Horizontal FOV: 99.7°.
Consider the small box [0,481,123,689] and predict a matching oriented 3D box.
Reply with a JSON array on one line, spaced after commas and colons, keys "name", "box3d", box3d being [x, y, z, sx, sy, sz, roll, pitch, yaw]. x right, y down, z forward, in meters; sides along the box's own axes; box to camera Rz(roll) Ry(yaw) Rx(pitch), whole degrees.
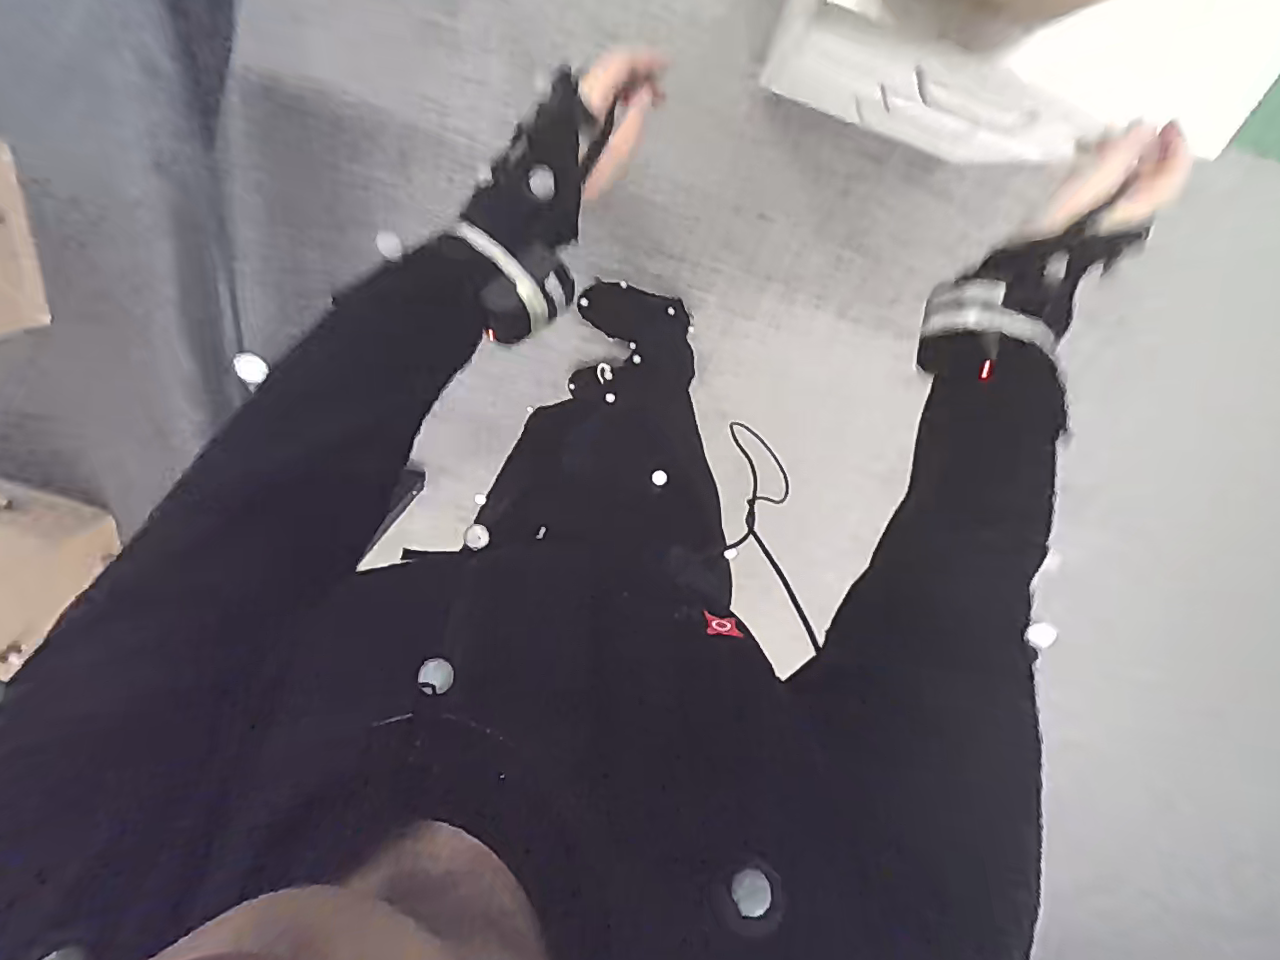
[{"name": "small box", "box3d": [-0.757, 0.115, 0.613, 0.179, 0.176, 0.168, 17, 119, -4]}]
